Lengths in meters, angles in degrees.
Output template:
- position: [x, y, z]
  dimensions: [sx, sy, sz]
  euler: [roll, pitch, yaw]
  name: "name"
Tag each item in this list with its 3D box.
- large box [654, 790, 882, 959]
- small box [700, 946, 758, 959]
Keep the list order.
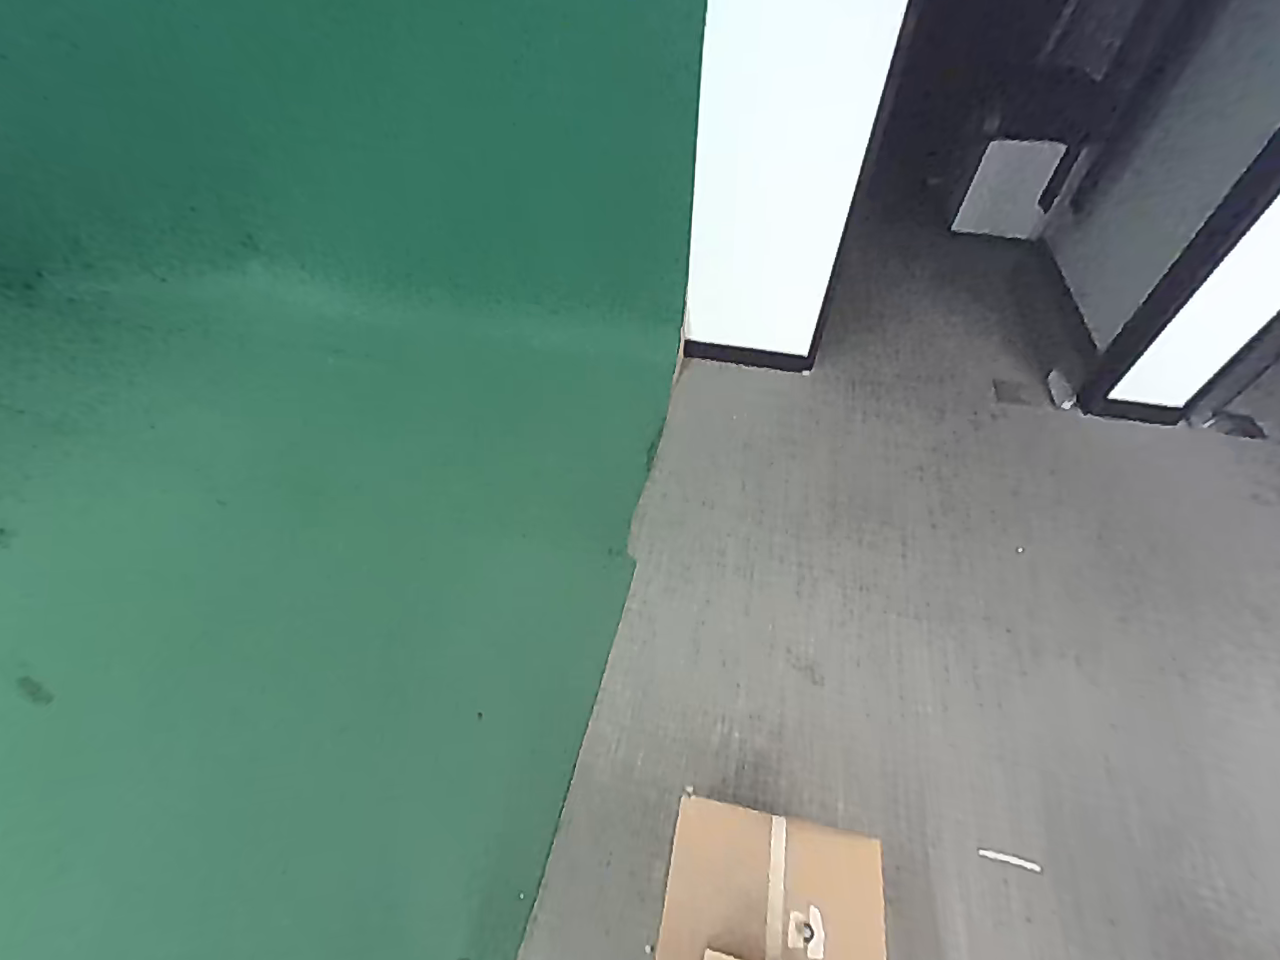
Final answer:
- position: [0.177, 0.773, 0.846]
  dimensions: [0.320, 0.320, 0.408]
  euler: [9, 50, 9]
  name: "large box"
- position: [0.146, 0.663, 0.617]
  dimensions: [0.179, 0.176, 0.168]
  euler: [10, 50, 12]
  name: "small box"
